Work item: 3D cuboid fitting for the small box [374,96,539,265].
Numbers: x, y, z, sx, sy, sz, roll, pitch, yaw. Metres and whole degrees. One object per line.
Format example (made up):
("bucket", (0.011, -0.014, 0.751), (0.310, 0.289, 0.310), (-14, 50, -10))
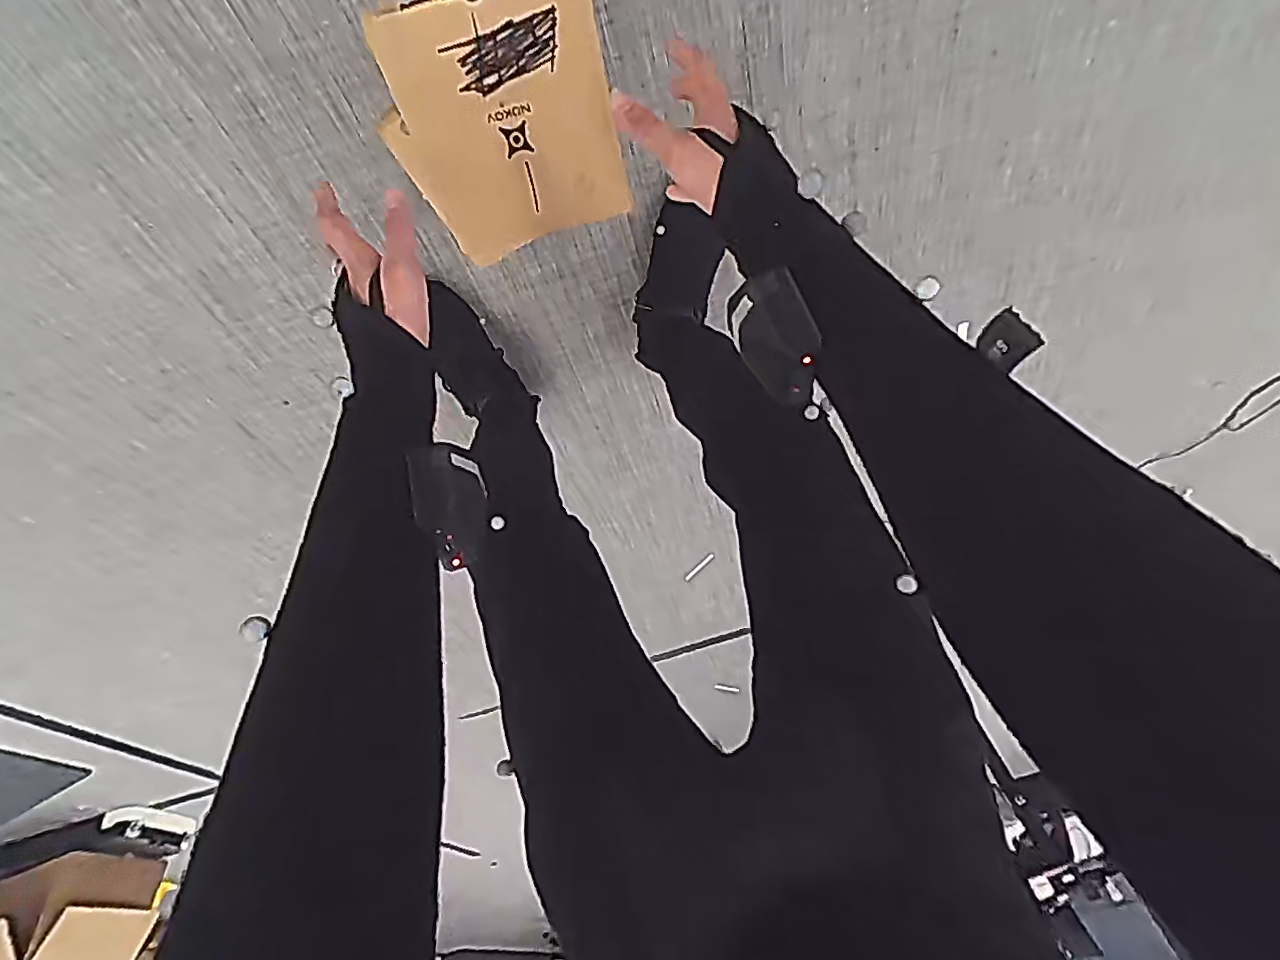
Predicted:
("small box", (-0.179, -0.401, 0.647), (0.168, 0.176, 0.179), (-25, 135, 12))

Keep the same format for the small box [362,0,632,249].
("small box", (-0.114, -0.343, 0.487), (0.168, 0.176, 0.179), (-14, 136, 1))
